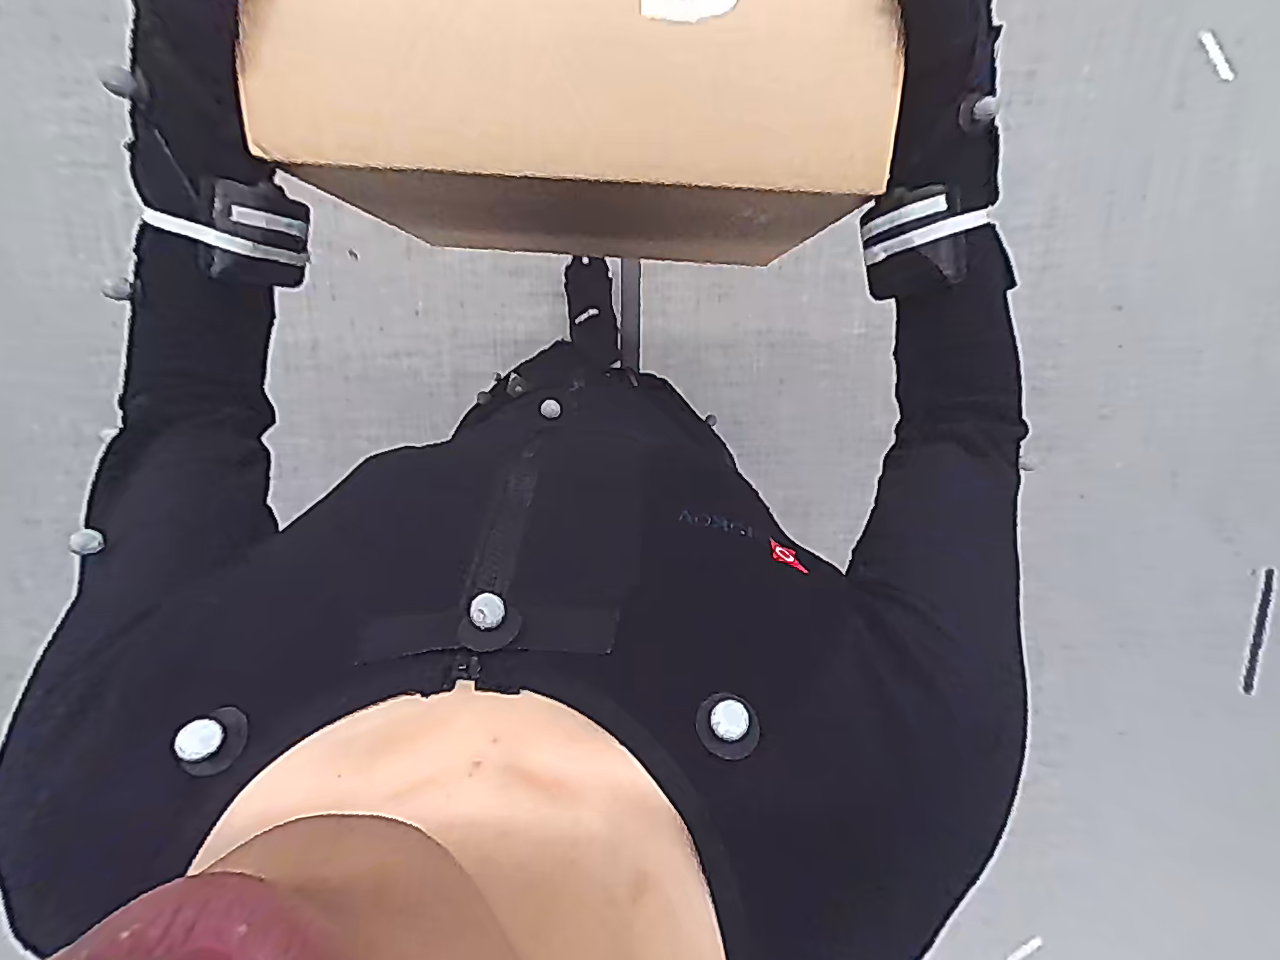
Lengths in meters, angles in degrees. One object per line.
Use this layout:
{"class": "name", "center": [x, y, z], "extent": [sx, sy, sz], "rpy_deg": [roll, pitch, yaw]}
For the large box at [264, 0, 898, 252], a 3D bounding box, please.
{"class": "large box", "center": [-0.036, -0.394, 0.470], "extent": [0.408, 0.320, 0.320], "rpy_deg": [2, 104, -2]}
